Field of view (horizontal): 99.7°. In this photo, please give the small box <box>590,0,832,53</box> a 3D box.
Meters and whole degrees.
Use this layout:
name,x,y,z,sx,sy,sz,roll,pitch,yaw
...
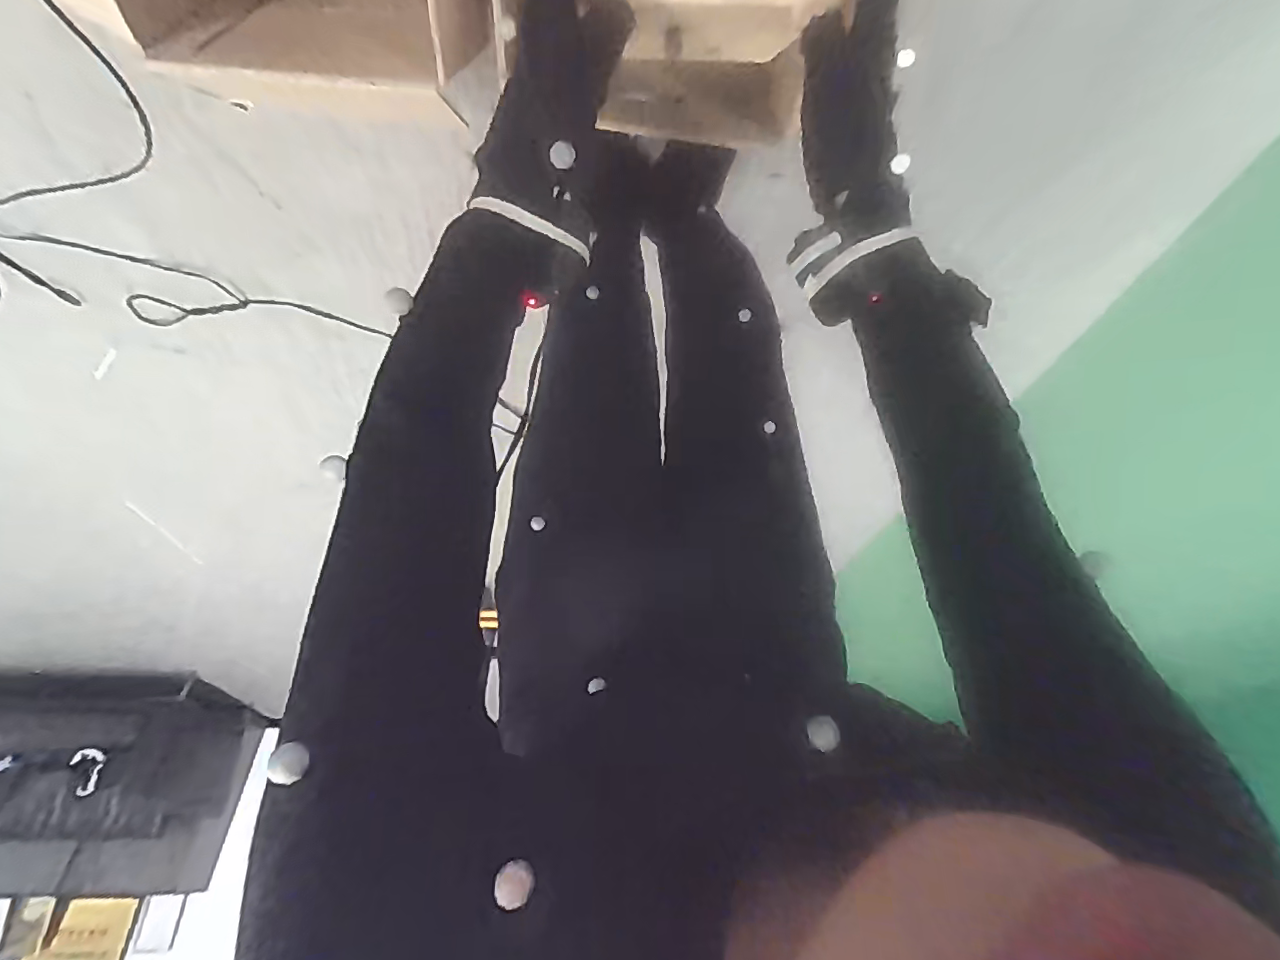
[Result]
name,x,y,z,sx,sy,sz,roll,pitch,yaw
small box,0.045,-0.426,0.380,0.168,0.176,0.179,-2,117,-4
